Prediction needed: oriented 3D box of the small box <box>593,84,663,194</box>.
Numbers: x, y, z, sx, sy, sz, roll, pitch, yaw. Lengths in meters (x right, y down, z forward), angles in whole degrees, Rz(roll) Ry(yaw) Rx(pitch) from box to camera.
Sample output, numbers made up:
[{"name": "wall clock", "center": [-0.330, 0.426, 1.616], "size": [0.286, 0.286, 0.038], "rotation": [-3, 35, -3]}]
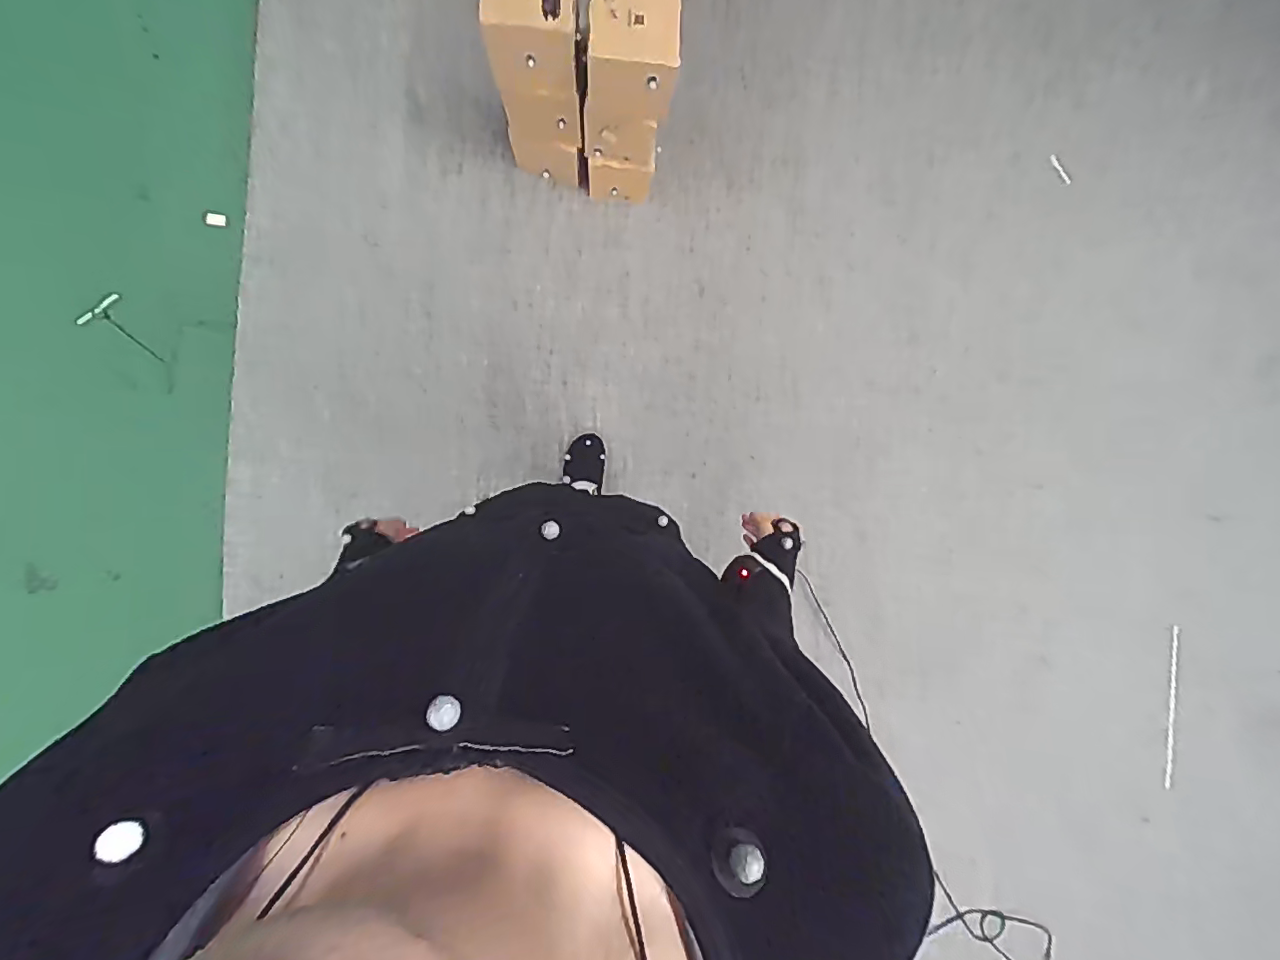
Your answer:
[{"name": "small box", "center": [-0.036, -0.884, 1.413], "size": [0.168, 0.176, 0.179], "rotation": [4, 92, -4]}]
